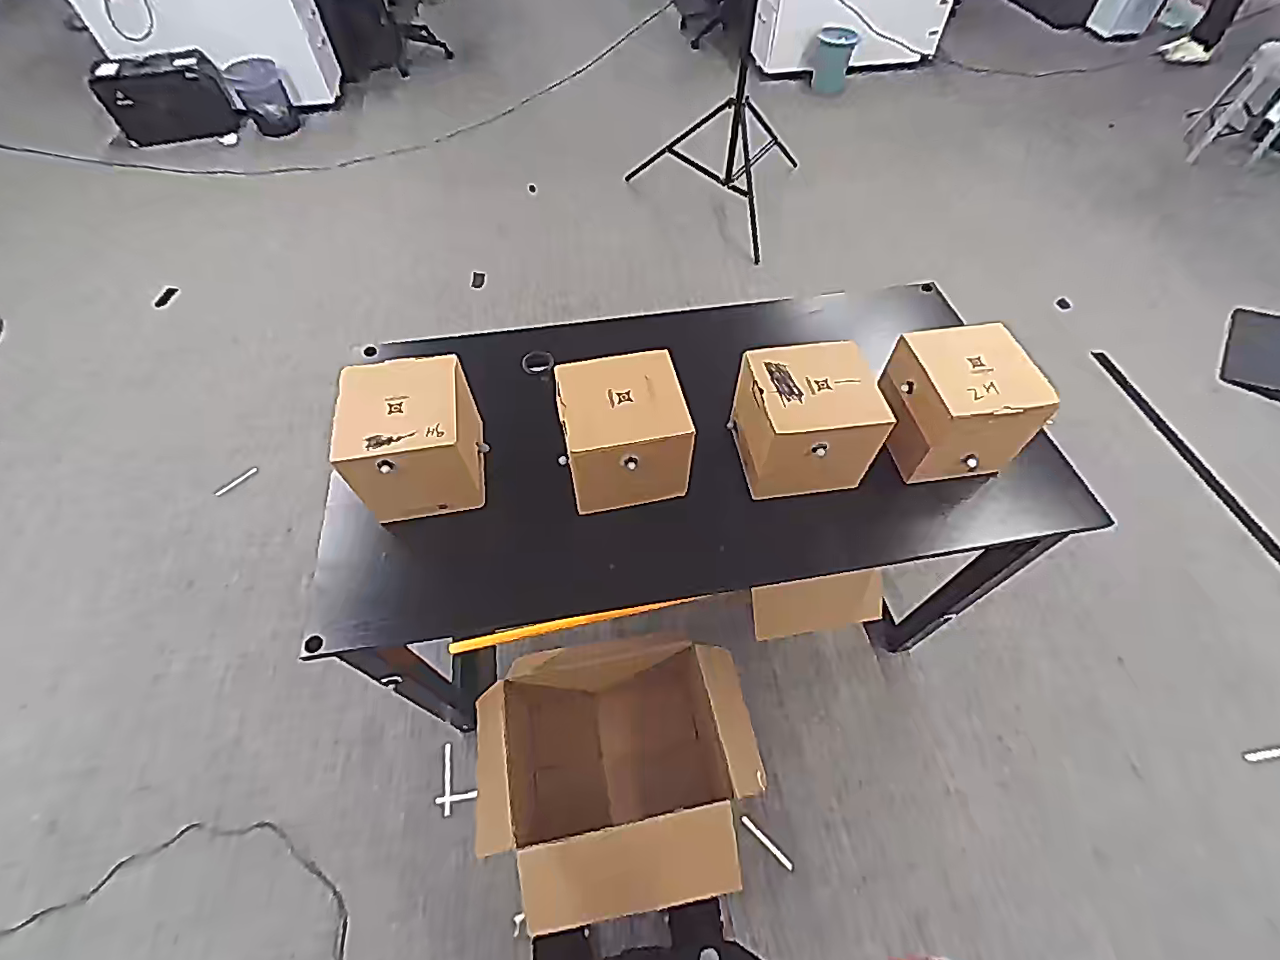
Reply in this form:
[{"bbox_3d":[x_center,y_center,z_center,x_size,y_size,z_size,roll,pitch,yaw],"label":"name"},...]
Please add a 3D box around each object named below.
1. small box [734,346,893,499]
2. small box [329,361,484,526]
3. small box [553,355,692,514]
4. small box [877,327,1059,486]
[{"bbox_3d":[0.251,-0.083,0.841,0.179,0.176,0.168,-6,56,-5],"label":"small box"},{"bbox_3d":[-0.339,-0.053,0.821,0.168,0.176,0.179,-9,56,-6],"label":"small box"},{"bbox_3d":[-0.028,-0.064,0.831,0.179,0.176,0.168,-10,58,-8],"label":"small box"},{"bbox_3d":[0.494,-0.114,0.859,0.168,0.176,0.179,-8,56,-3],"label":"small box"}]
